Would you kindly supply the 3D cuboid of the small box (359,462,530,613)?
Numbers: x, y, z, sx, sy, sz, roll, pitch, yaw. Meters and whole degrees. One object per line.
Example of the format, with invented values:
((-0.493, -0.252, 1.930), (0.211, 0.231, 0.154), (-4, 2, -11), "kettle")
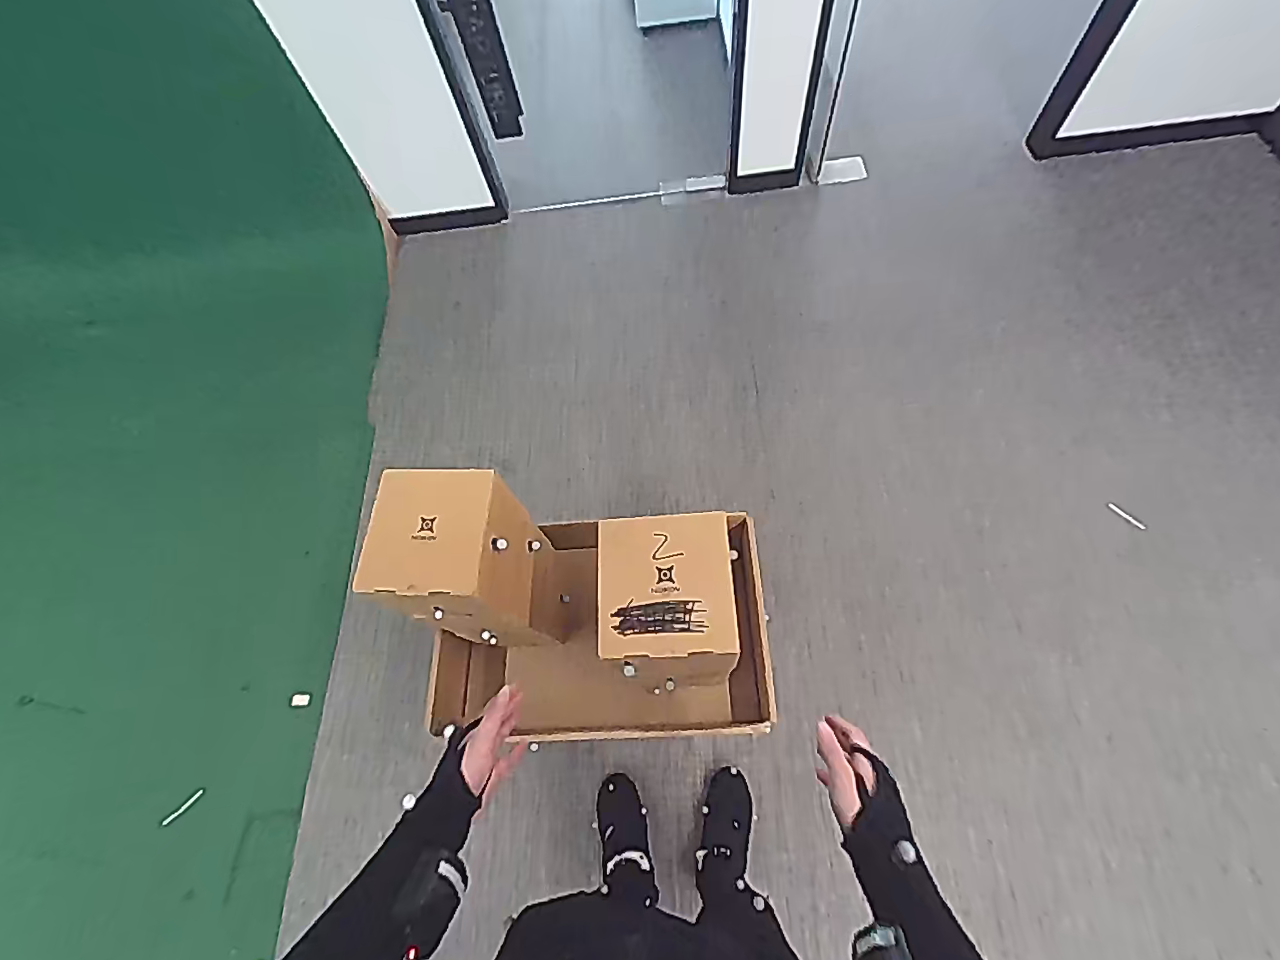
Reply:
((-0.269, 0.088, 0.793), (0.168, 0.176, 0.179), (1, 67, 6), "small box")

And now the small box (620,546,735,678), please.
((0.057, 0.220, 0.877), (0.168, 0.176, 0.179), (-5, 65, 4), "small box")

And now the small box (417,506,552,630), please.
((-0.257, 0.155, 0.940), (0.168, 0.176, 0.179), (-1, 66, 7), "small box")

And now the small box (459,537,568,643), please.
((-0.243, 0.224, 1.088), (0.168, 0.176, 0.179), (-2, 65, 5), "small box")
